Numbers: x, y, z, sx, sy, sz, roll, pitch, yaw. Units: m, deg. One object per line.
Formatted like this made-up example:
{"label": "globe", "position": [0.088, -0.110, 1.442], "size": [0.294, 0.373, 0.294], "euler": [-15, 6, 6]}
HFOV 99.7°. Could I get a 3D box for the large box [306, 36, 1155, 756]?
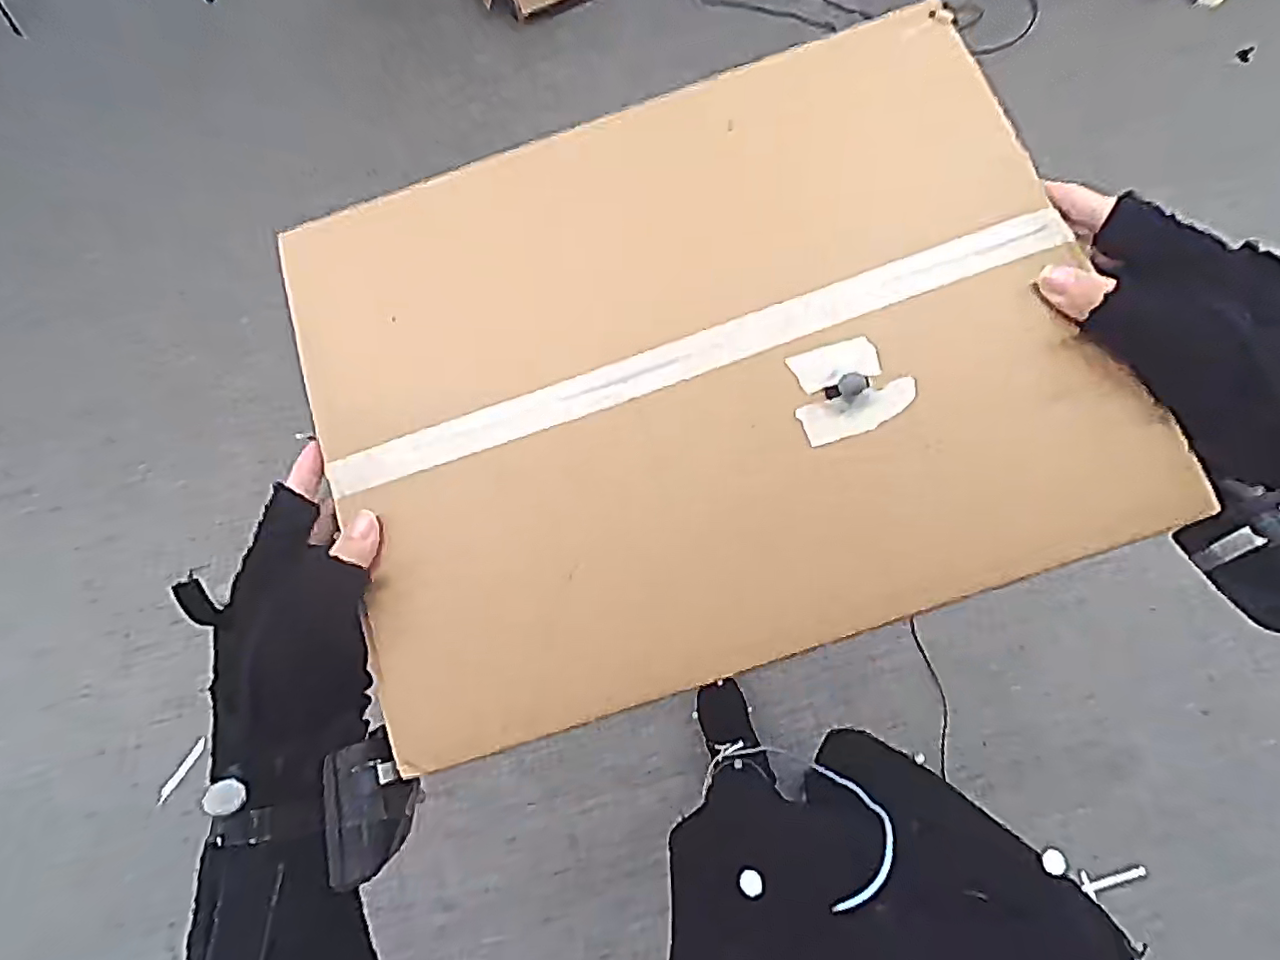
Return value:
{"label": "large box", "position": [0.037, -0.037, 0.448], "size": [0.408, 0.320, 0.320], "euler": [-19, 80, 1]}
